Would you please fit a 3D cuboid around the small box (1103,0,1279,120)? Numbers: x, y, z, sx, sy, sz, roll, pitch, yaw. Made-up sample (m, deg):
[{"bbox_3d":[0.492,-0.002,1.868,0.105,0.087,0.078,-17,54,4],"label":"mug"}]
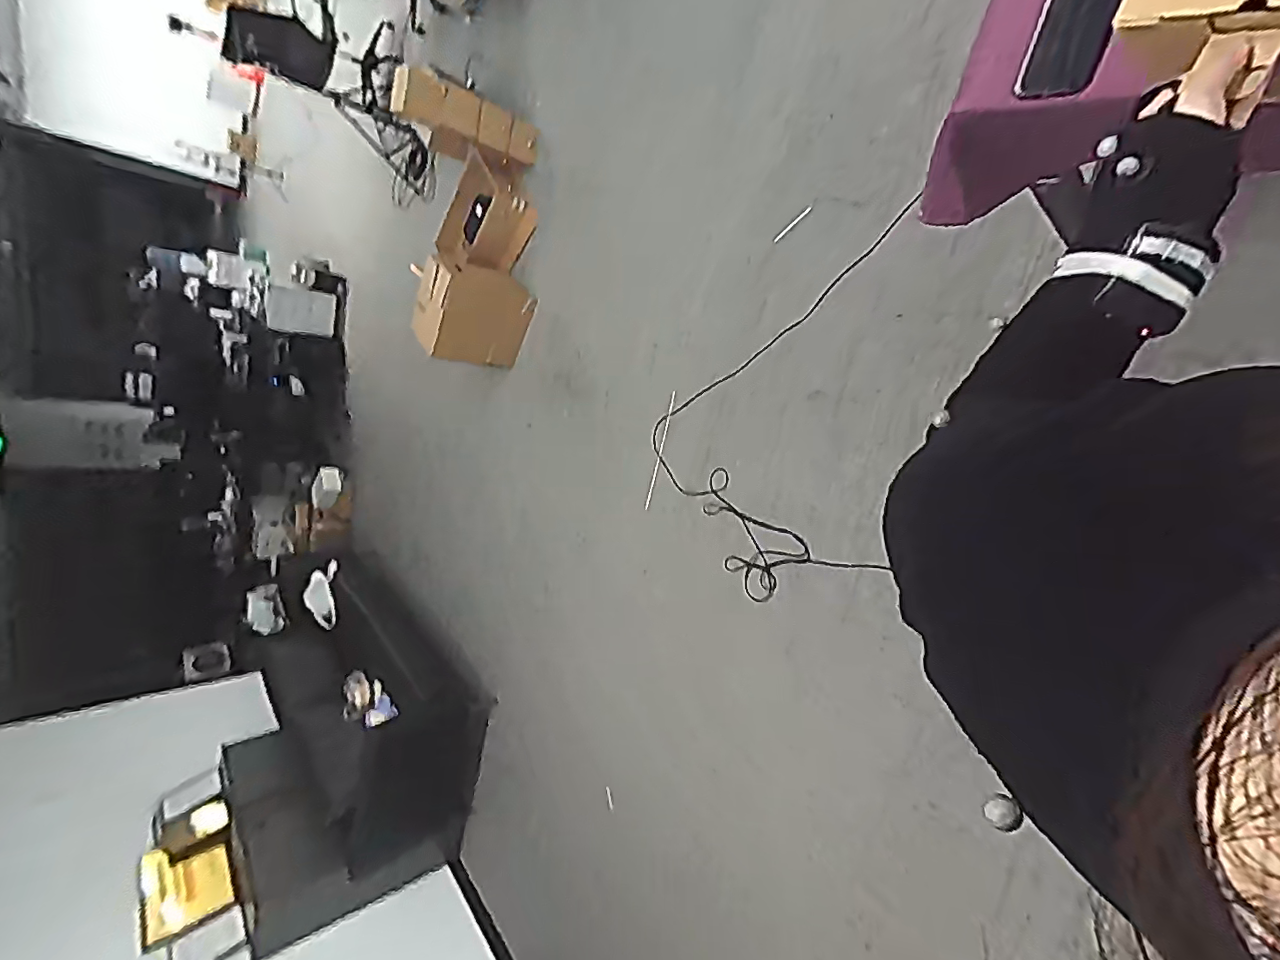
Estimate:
[{"bbox_3d":[0.501,-0.394,0.399,0.168,0.176,0.179,39,124,42],"label":"small box"}]
